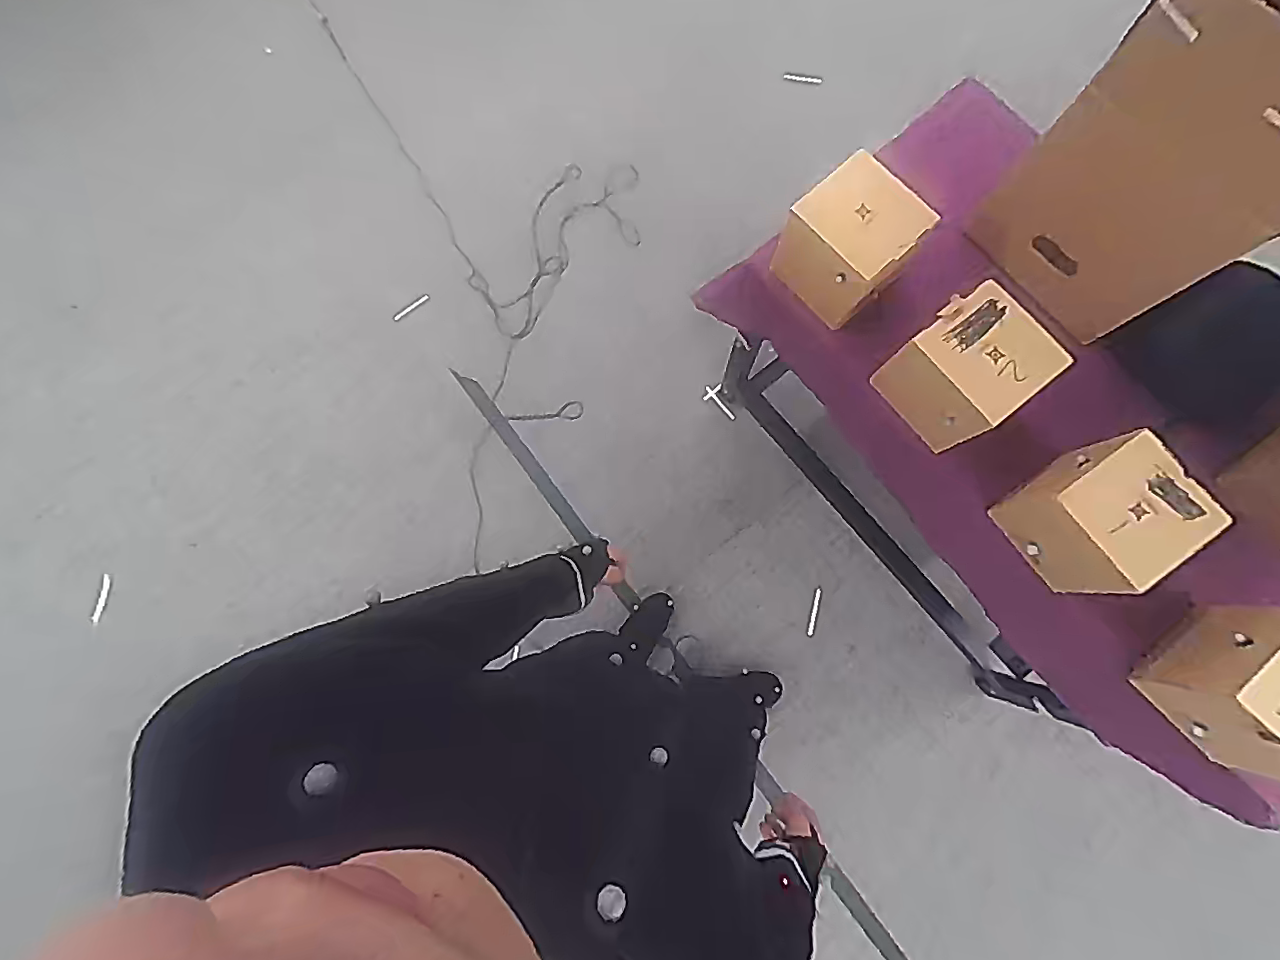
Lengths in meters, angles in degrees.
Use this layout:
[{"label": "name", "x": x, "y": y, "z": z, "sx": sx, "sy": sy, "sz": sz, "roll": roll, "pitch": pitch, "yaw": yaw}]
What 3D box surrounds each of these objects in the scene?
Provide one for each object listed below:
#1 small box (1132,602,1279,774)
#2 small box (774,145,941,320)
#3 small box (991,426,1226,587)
[{"label": "small box", "x": 0.888, "y": 0.291, "z": 0.781, "sx": 0.179, "sy": 0.176, "sz": 0.168, "roll": -41, "pitch": 80, "yaw": -5}, {"label": "small box", "x": 0.356, "y": -0.412, "z": 0.927, "sx": 0.168, "sy": 0.176, "sz": 0.179, "roll": -41, "pitch": 82, "yaw": -6}, {"label": "small box", "x": 0.700, "y": 0.046, "z": 0.832, "sx": 0.179, "sy": 0.176, "sz": 0.168, "roll": -35, "pitch": 80, "yaw": -4}]
